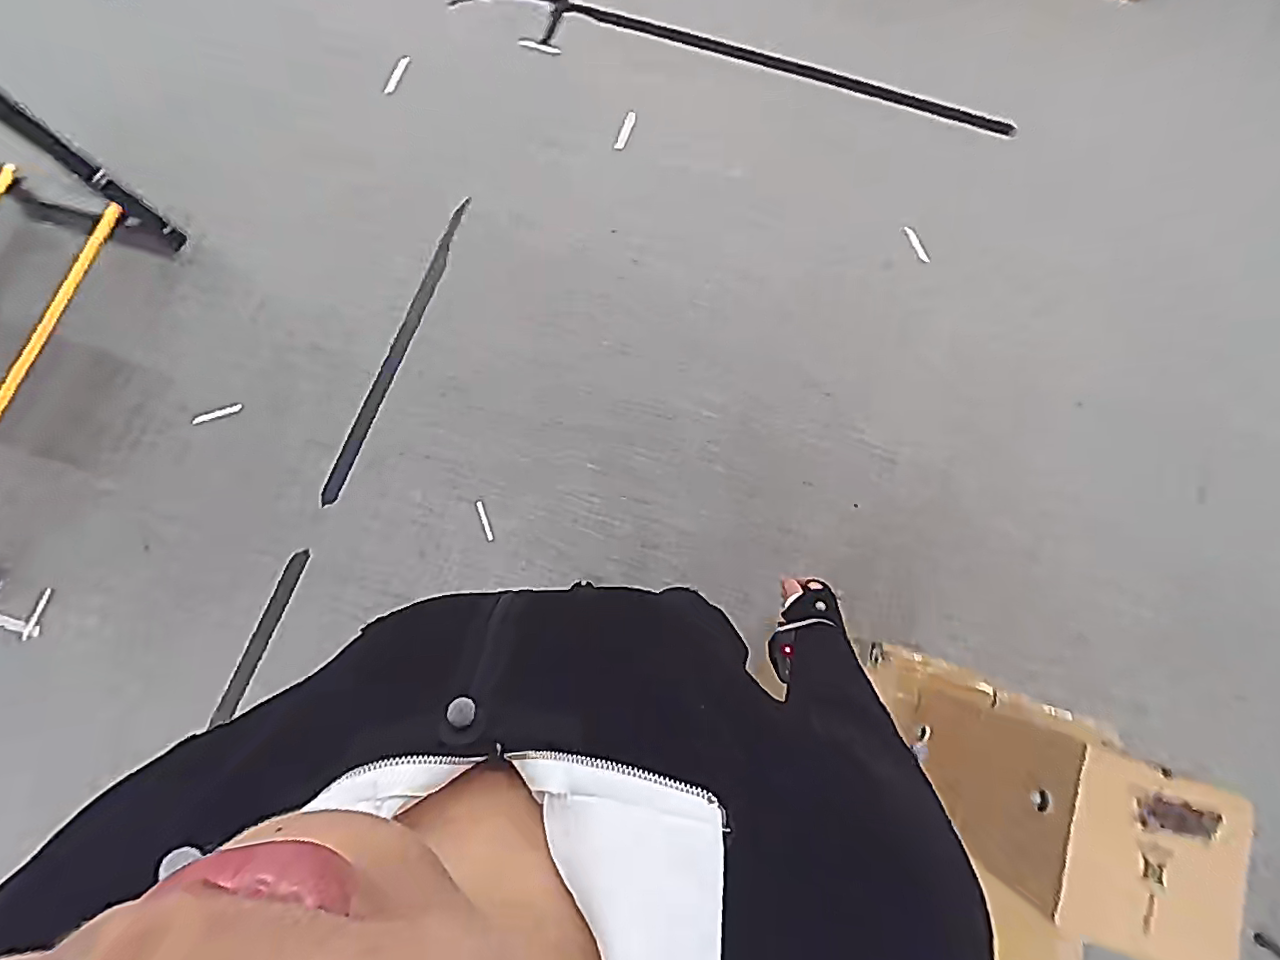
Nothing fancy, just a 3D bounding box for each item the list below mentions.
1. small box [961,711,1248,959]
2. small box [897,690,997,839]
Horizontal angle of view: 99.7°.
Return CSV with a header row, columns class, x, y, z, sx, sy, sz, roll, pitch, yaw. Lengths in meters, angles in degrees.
class,x,y,z,sx,sy,sz,roll,pitch,yaw
small box,0.492,0.379,0.598,0.168,0.176,0.179,19,80,5
small box,0.498,0.413,0.760,0.179,0.176,0.168,19,79,6
